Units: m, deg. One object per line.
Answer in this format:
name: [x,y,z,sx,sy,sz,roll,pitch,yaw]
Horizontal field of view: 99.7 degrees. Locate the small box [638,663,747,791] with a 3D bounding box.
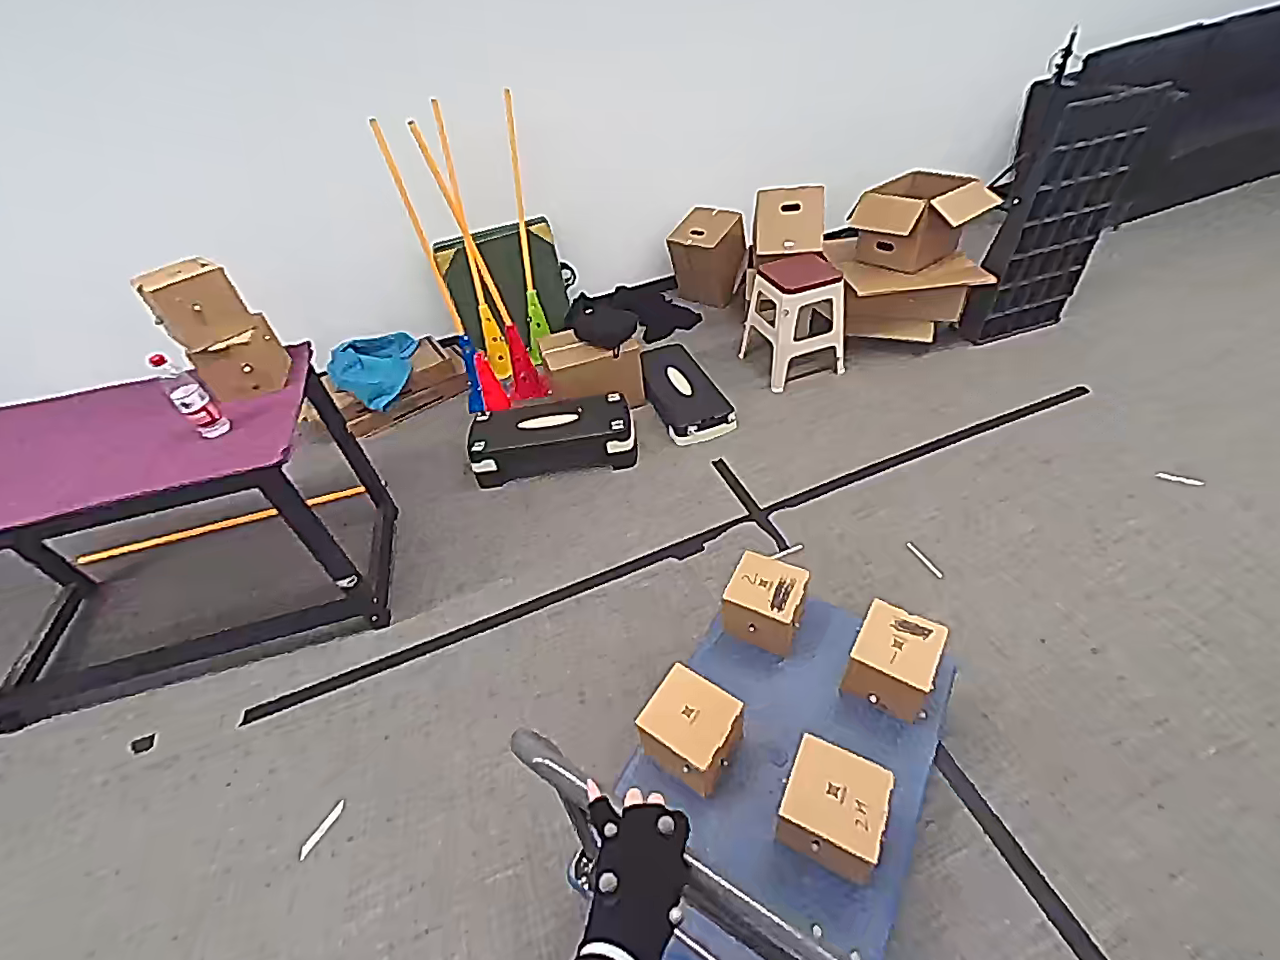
small box: [0.118,0.549,1.197,0.179,0.176,0.168,24,52,28]

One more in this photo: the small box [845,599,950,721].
small box: [0.590,0.417,1.255,0.168,0.176,0.179,22,52,28]

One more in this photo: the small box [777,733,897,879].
small box: [0.378,0.639,1.057,0.179,0.176,0.168,17,49,25]
